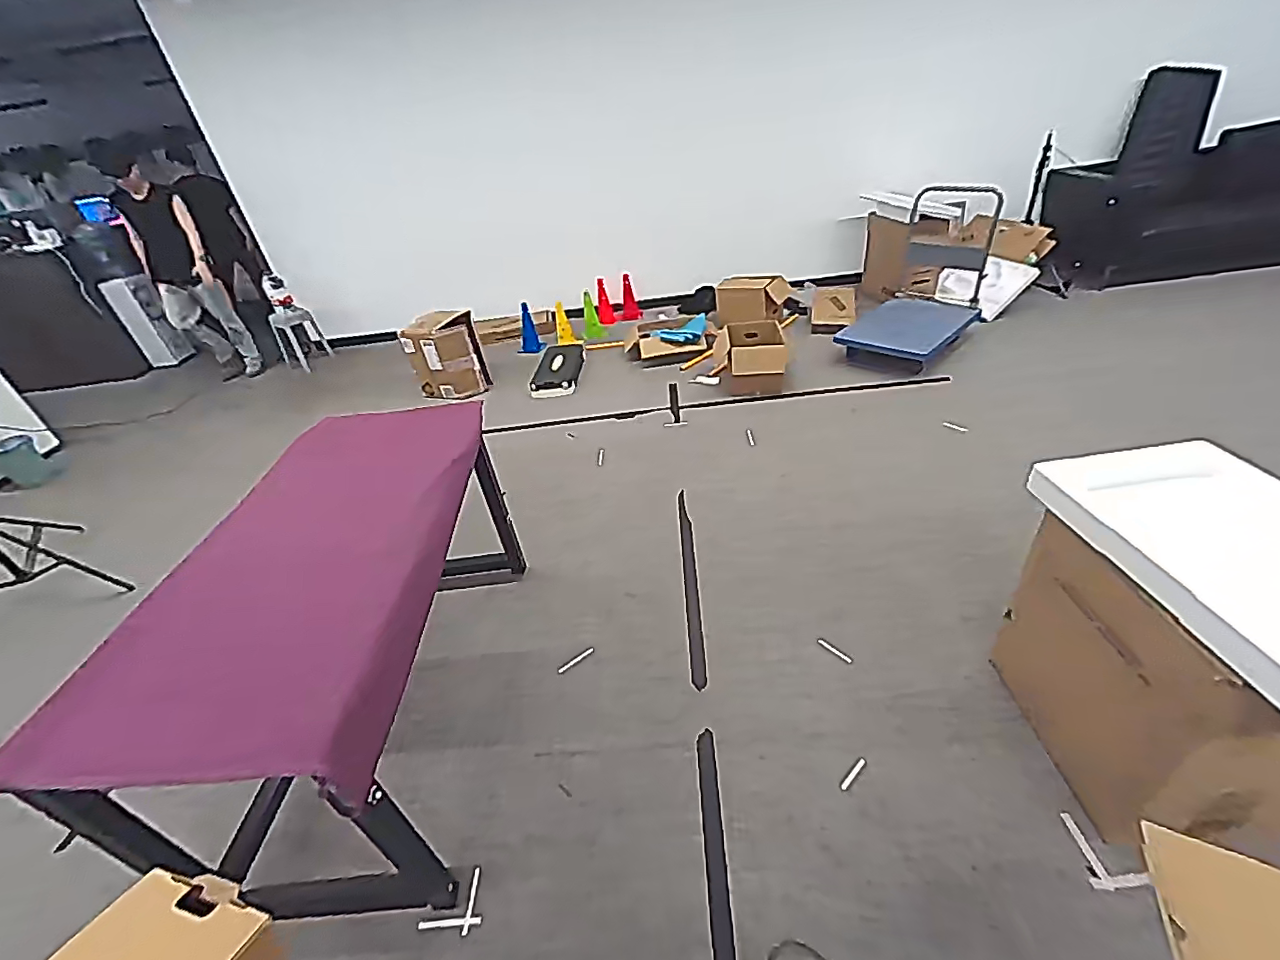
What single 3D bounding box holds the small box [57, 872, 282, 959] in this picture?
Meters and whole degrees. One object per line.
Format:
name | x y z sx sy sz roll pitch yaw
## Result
small box | -0.427 0.501 0.467 0.168 0.176 0.179 2 20 19
